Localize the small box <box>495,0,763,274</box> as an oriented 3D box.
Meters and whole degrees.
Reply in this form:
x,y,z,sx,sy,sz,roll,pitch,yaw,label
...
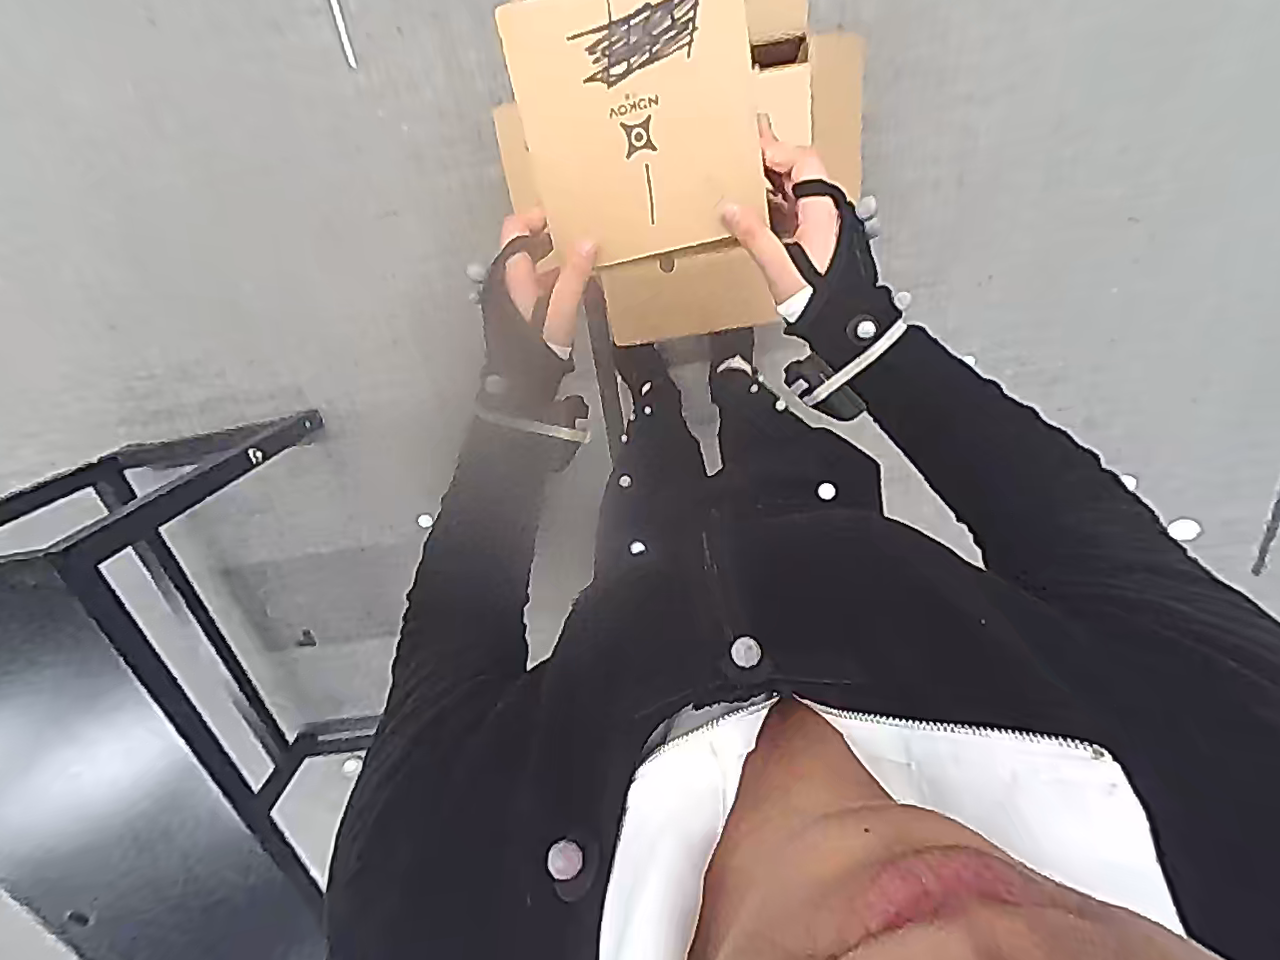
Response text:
x,y,z,sx,sy,sz,roll,pitch,yaw,label
0.004,-0.281,0.452,0.168,0.176,0.179,-8,114,10,small box
